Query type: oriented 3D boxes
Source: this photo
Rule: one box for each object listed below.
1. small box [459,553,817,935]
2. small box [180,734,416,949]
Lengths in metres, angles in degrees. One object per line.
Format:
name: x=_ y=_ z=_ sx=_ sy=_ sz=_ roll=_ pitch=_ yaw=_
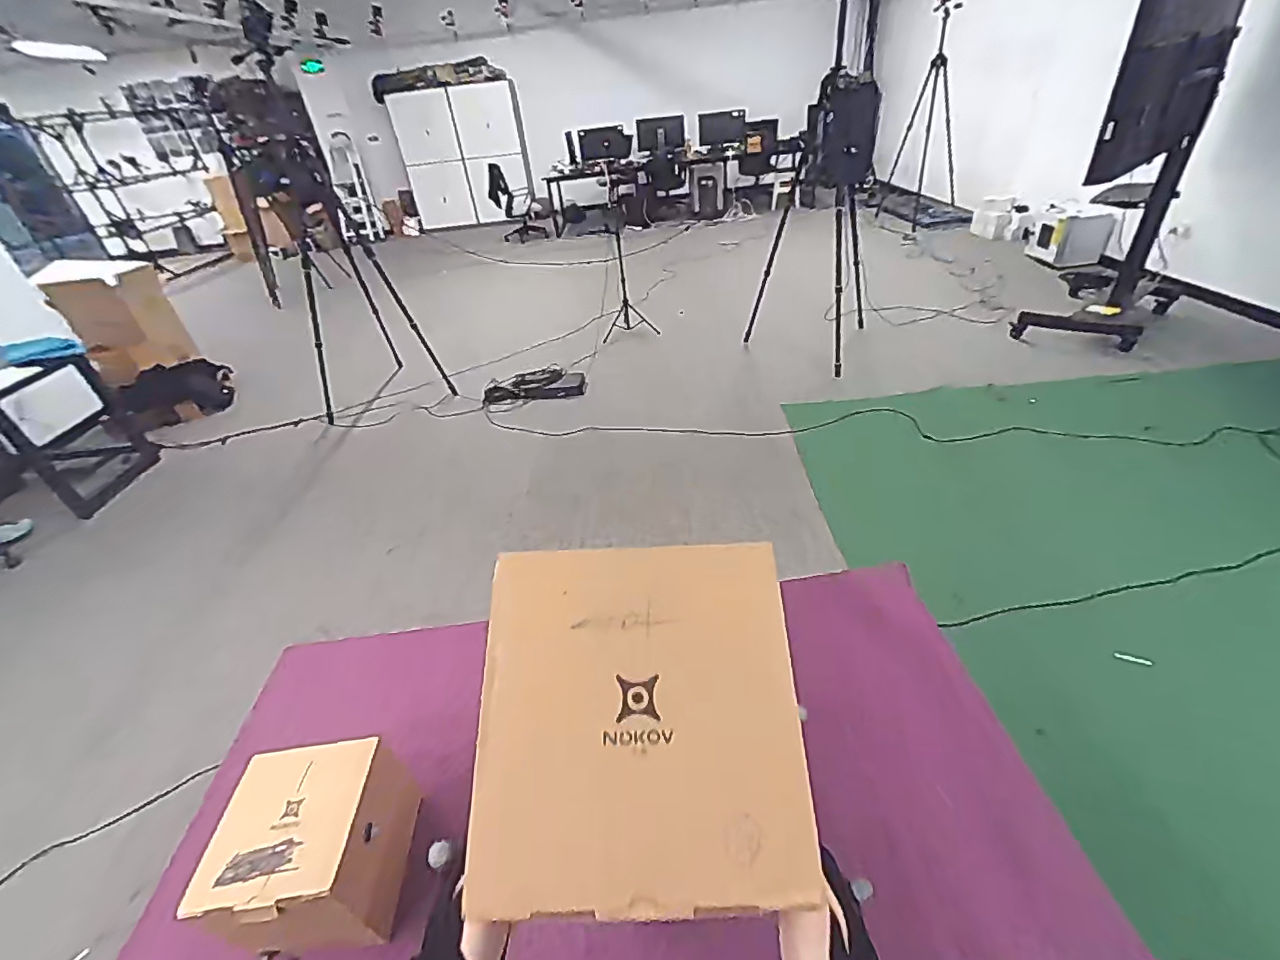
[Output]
small box: x=0.000 y=0.157 z=0.348 sx=0.168 sy=0.176 sz=0.179 roll=-2 pitch=63 yaw=1
small box: x=-0.406 y=0.458 z=0.685 sx=0.168 sy=0.176 sz=0.179 roll=-8 pitch=35 yaw=-1
